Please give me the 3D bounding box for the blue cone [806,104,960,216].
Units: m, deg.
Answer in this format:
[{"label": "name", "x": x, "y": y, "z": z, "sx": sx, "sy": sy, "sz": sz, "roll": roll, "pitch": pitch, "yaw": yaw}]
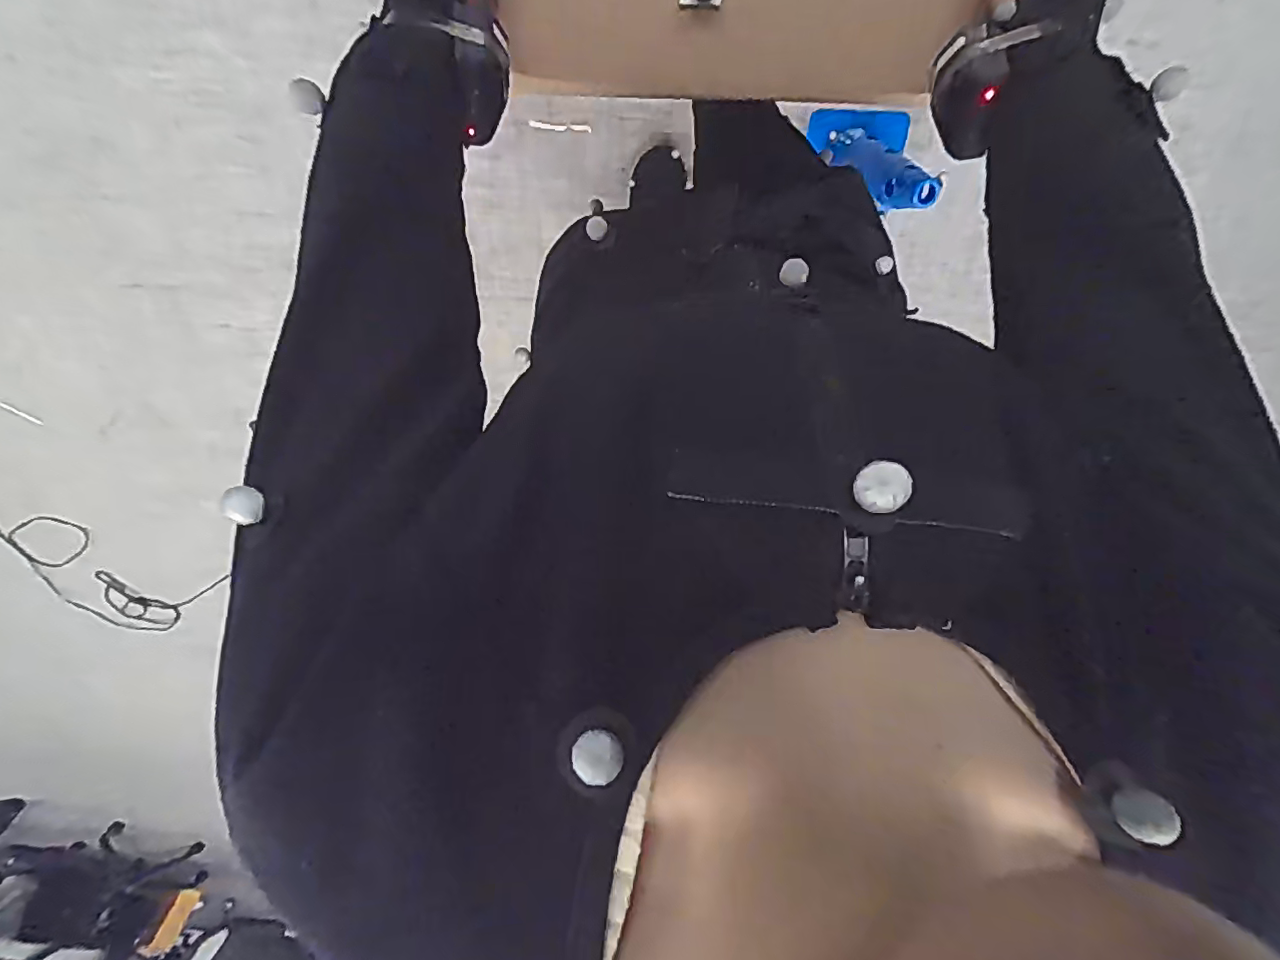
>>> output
[{"label": "blue cone", "x": 0.434, "y": -0.538, "z": 0.935, "sx": 0.192, "sy": 0.380, "sz": 0.193, "roll": 2, "pitch": 124, "yaw": -2}]
